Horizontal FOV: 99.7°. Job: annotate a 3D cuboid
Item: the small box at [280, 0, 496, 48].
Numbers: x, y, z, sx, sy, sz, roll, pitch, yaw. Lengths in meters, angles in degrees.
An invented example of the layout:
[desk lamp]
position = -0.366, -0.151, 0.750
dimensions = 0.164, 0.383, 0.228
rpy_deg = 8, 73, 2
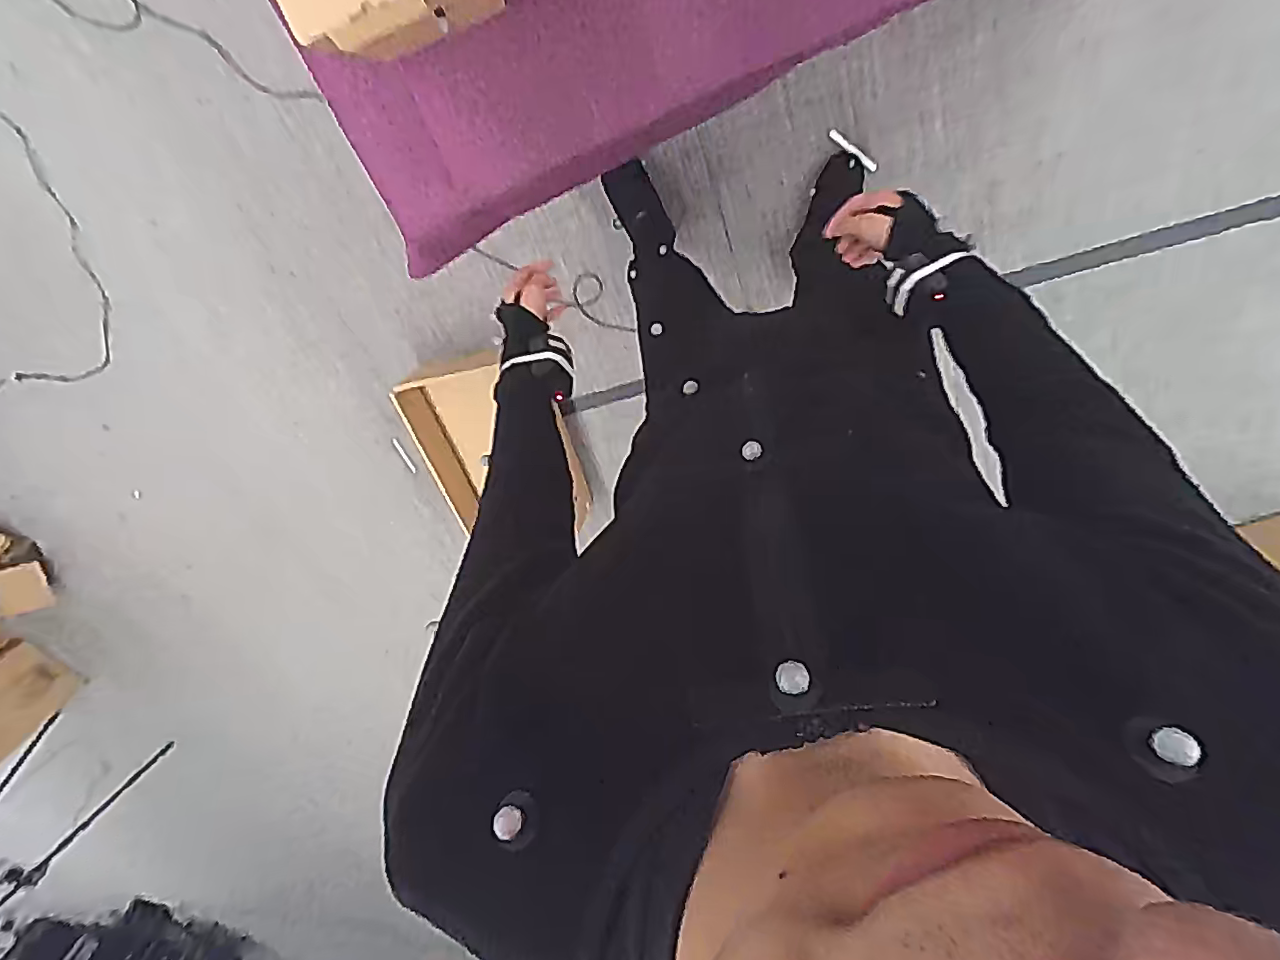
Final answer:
[small box]
position = -0.263, -0.549, 0.522
dimensions = 0.168, 0.176, 0.179
rpy_deg = -10, 121, 14
